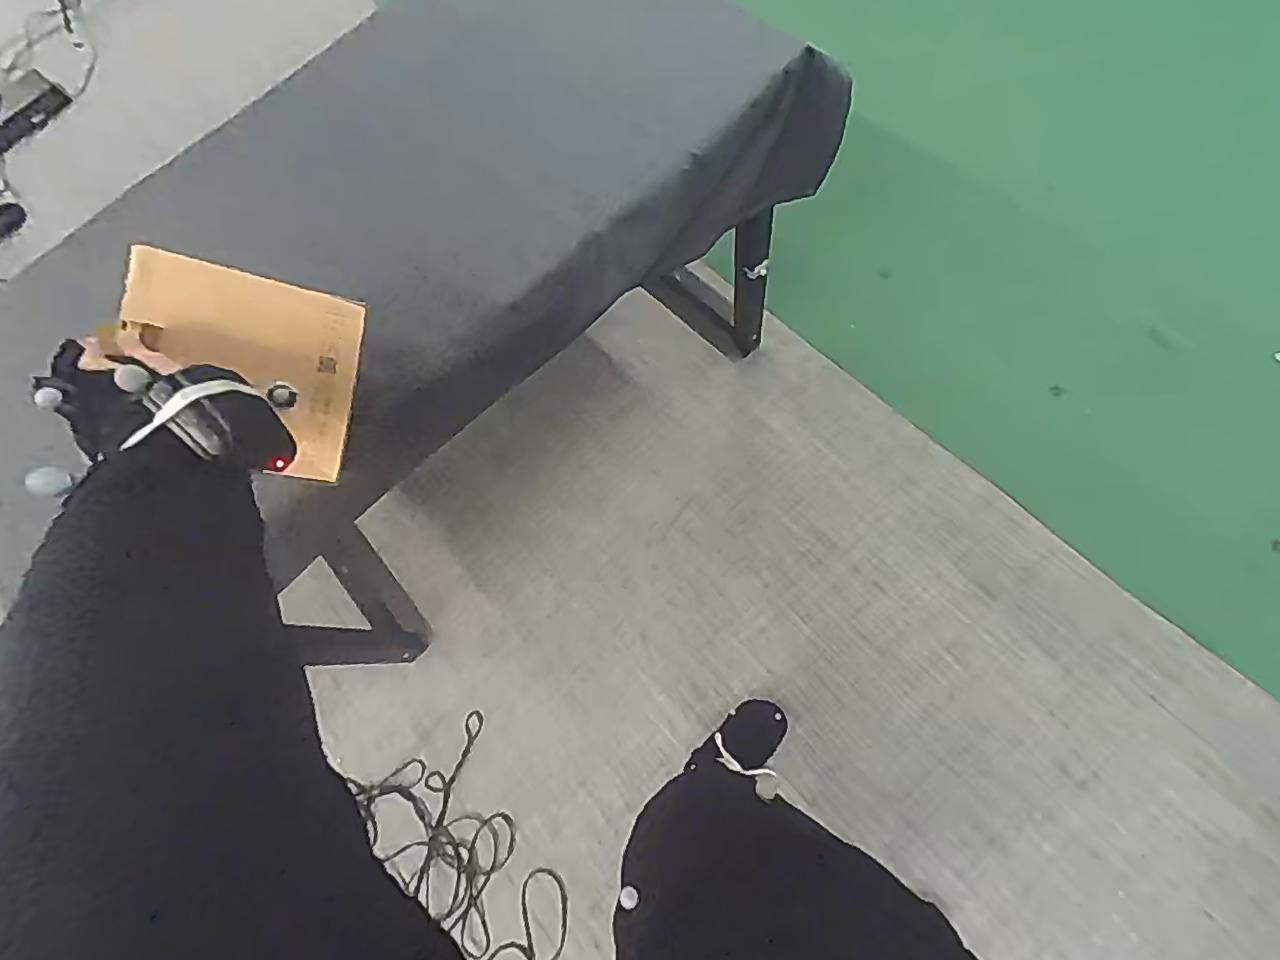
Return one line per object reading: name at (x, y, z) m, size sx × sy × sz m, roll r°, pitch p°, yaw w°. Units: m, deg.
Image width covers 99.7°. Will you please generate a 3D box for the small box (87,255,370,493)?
small box at (-0.371, -0.085, 0.524) m, size 0.176 × 0.179 × 0.168 m, roll 12°, pitch 88°, yaw -28°
